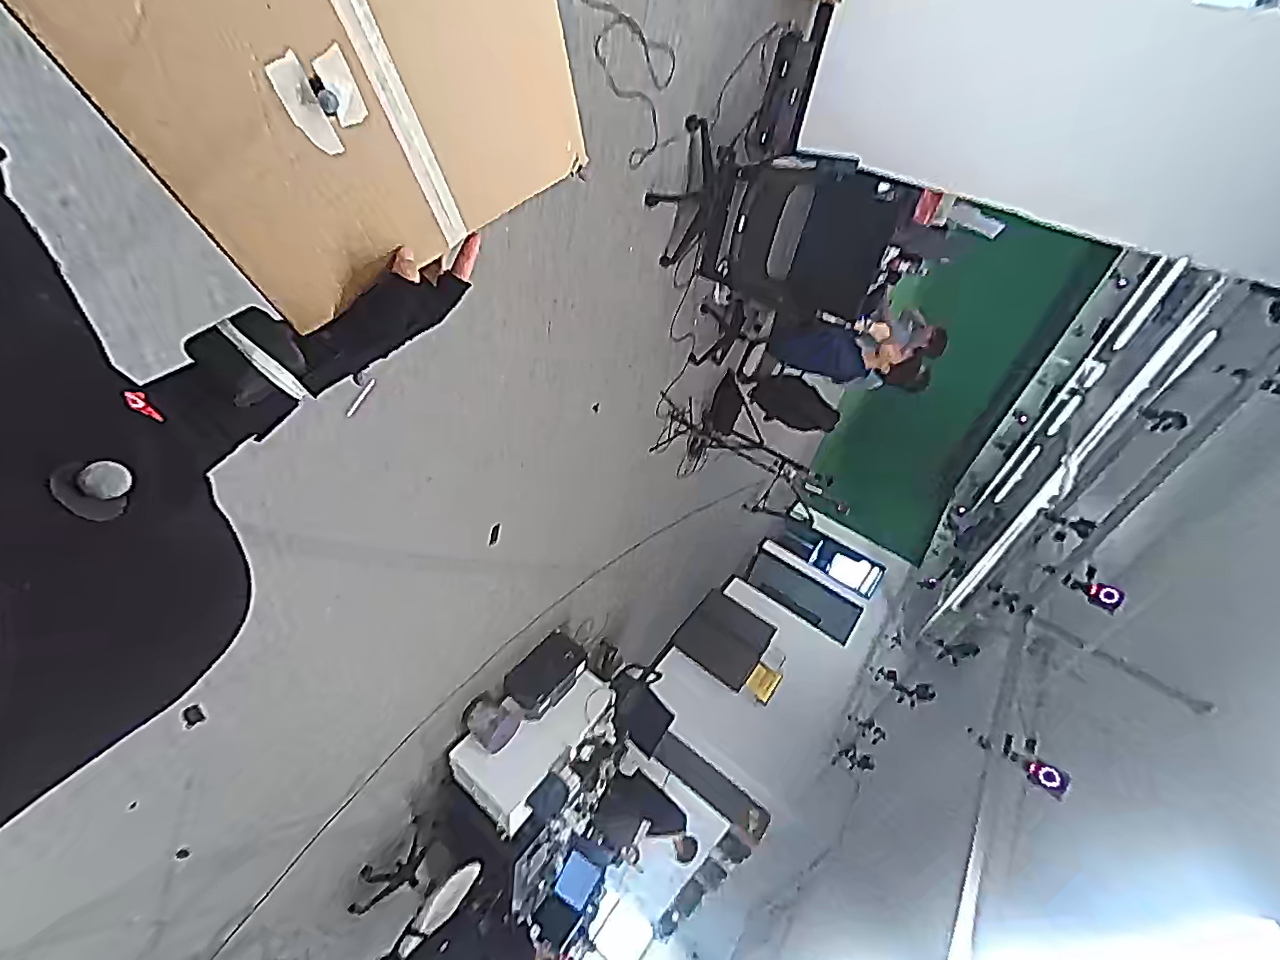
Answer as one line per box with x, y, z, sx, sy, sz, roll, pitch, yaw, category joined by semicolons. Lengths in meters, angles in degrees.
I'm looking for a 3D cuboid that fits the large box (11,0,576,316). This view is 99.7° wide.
-0.296;-0.417;0.390;0.320;0.320;0.408;-40;153;-16;large box
